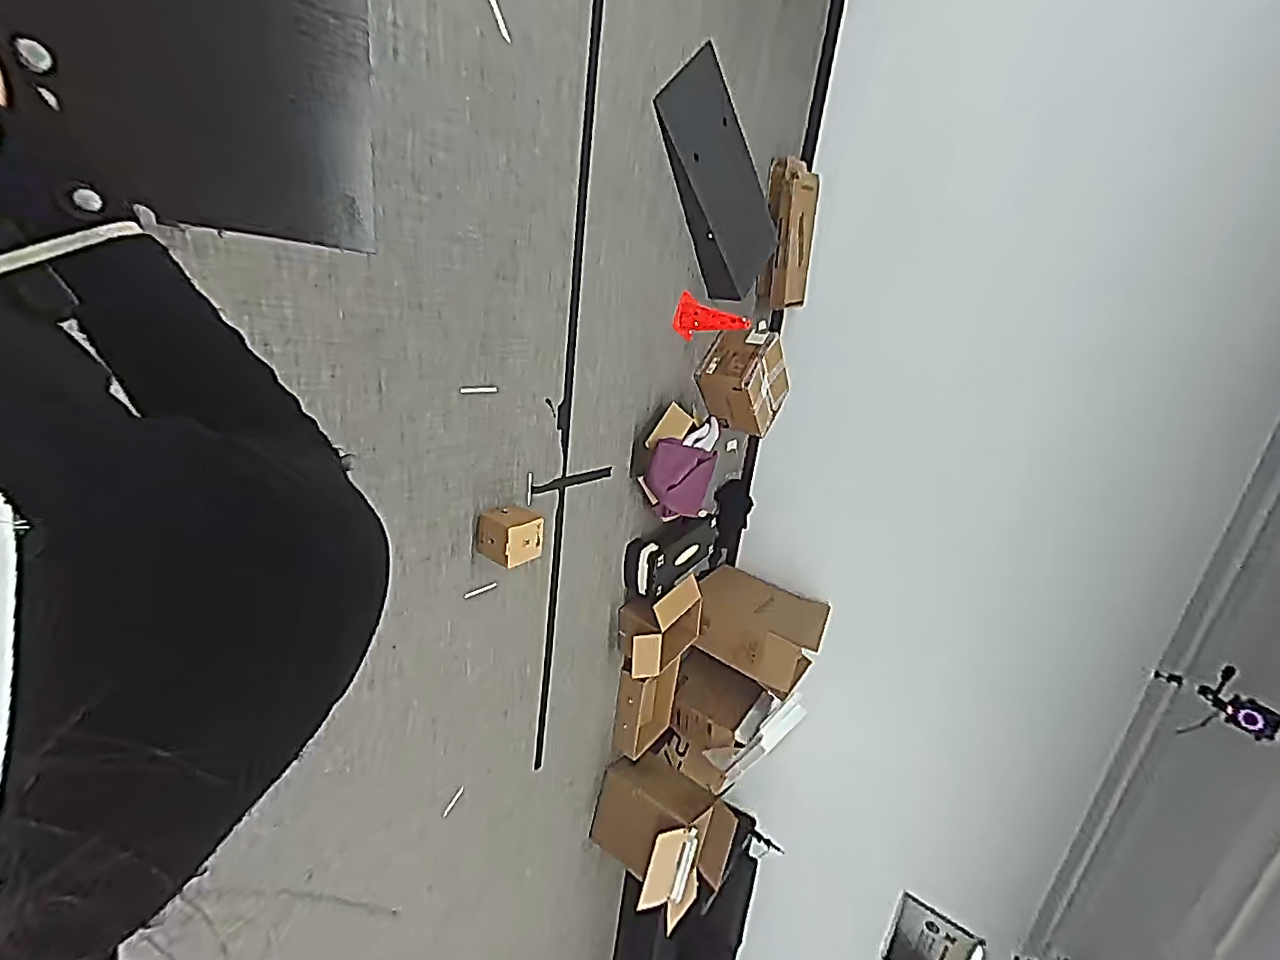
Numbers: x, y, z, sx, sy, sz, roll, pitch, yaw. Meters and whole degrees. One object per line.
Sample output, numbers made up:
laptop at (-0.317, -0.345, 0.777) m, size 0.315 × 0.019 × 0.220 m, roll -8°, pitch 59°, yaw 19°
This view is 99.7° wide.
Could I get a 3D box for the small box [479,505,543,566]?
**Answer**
small box at (-0.495, 0.207, 2.065) m, size 0.179 × 0.176 × 0.168 m, roll -16°, pitch 119°, yaw -51°
